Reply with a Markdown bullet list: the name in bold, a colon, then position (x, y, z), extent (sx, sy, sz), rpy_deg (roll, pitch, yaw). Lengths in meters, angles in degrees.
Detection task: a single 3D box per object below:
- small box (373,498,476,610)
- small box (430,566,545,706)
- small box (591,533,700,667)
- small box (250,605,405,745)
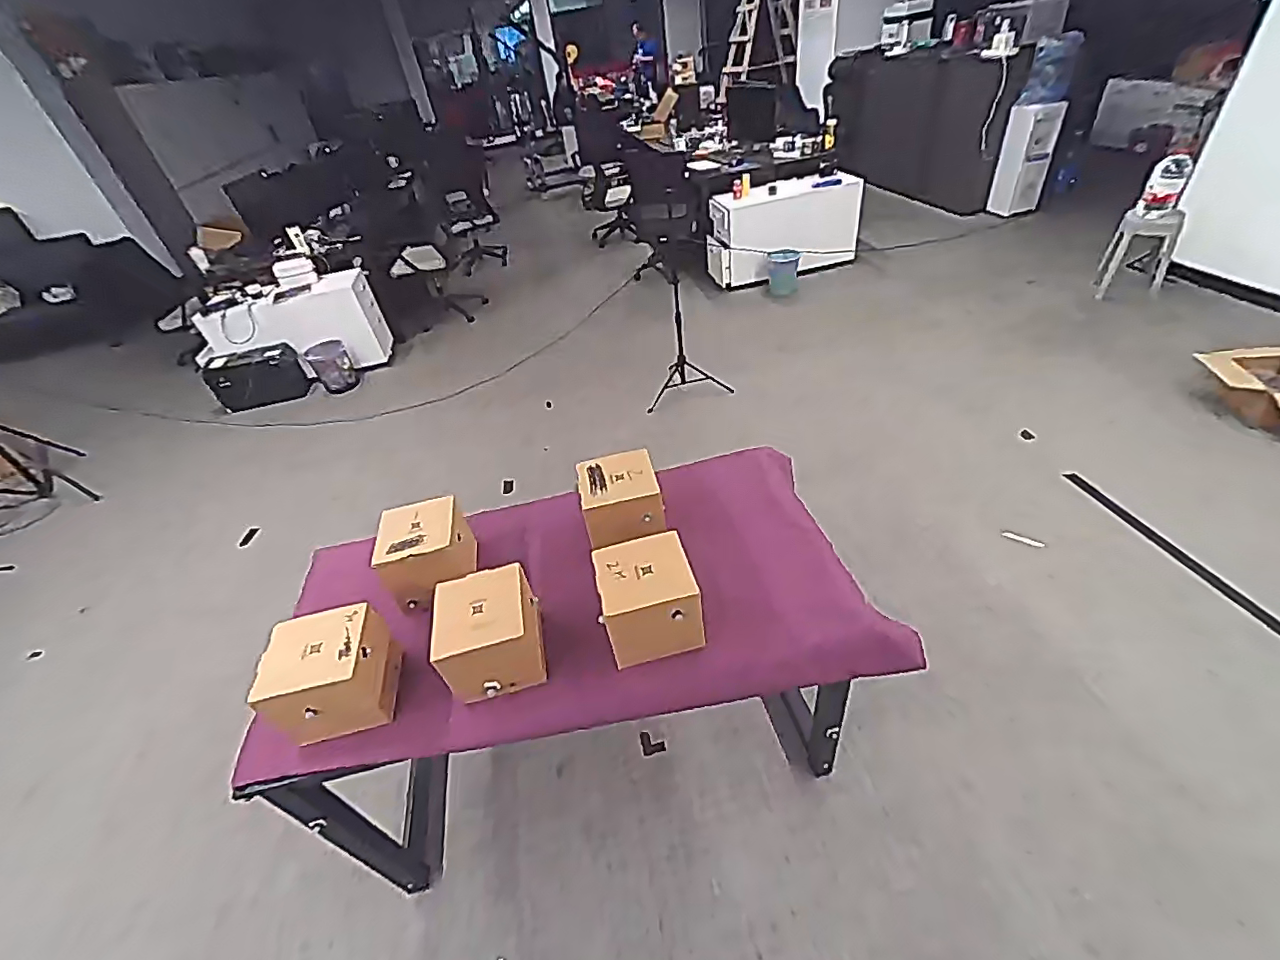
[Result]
- **small box**: position (-0.481, 0.175, 1.235), extent (0.168, 0.176, 0.179), rpy_deg (-14, 40, -5)
- **small box**: position (-0.288, 0.302, 1.046), extent (0.168, 0.176, 0.179), rpy_deg (-15, 42, -4)
- **small box**: position (0.014, 0.235, 1.055), extent (0.179, 0.176, 0.168), rpy_deg (-14, 39, -4)
- **small box**: position (-0.574, 0.370, 1.020), extent (0.179, 0.176, 0.168), rpy_deg (-14, 40, -4)
